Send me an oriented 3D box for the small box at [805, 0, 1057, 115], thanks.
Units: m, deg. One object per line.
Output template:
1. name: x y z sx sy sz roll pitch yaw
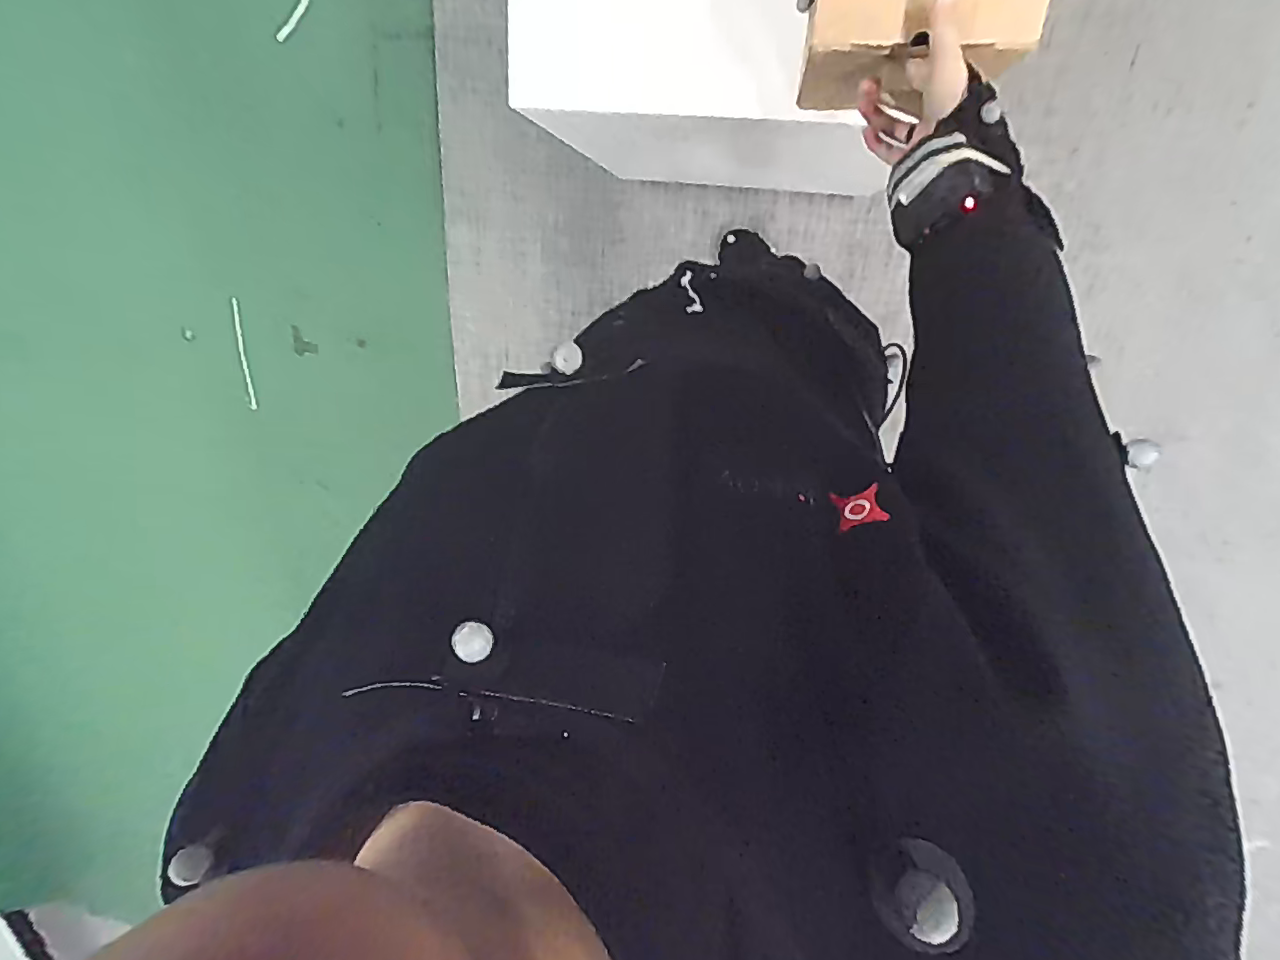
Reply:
1. small box: 0.239 -0.435 0.455 0.168 0.176 0.179 7 112 9
